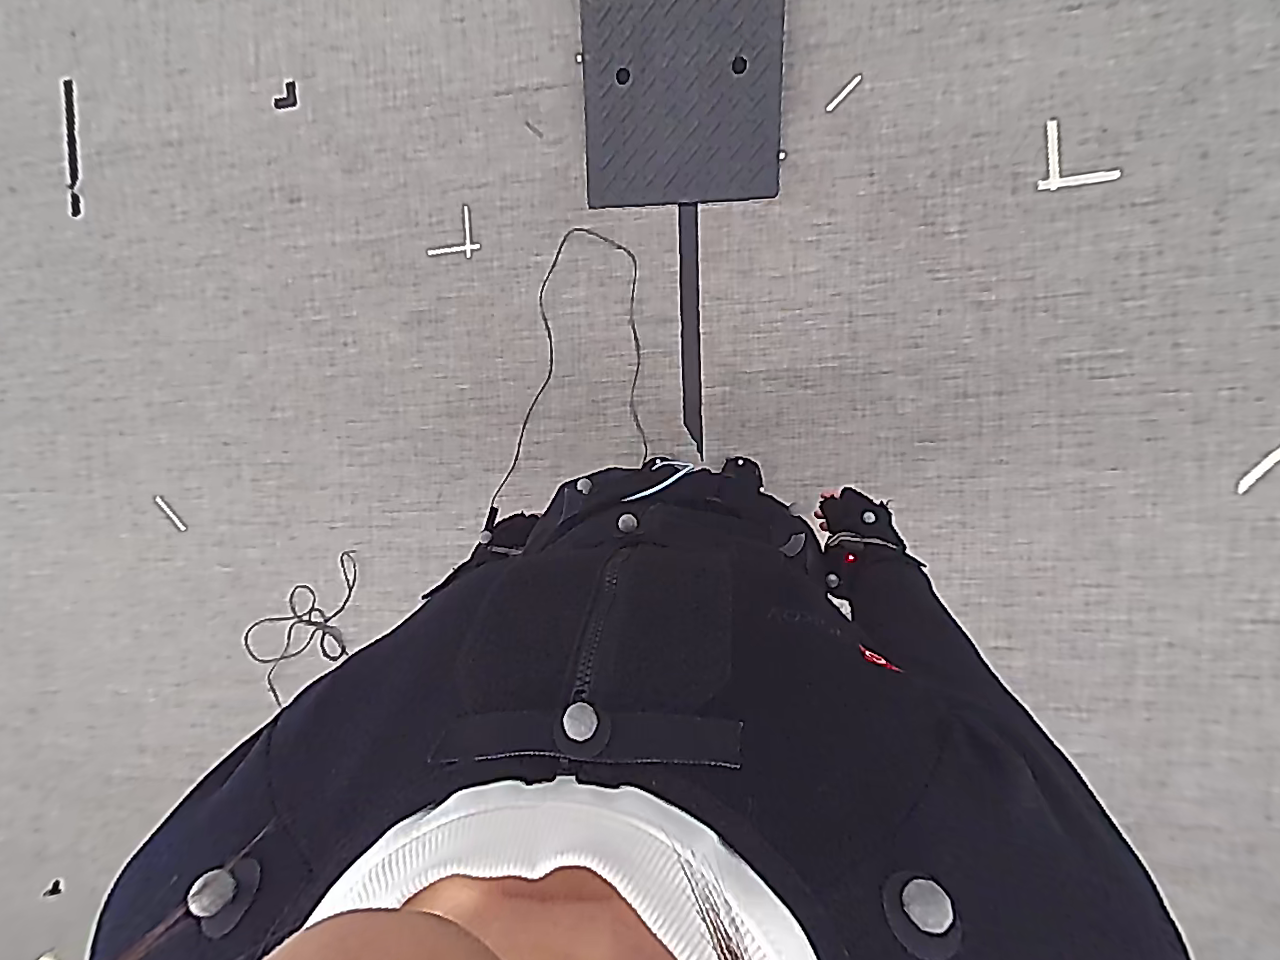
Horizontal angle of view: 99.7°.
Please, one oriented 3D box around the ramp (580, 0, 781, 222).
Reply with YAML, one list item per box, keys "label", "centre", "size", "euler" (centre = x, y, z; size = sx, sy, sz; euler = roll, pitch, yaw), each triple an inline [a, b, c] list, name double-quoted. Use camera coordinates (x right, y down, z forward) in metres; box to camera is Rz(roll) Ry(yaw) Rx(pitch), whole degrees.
- label: "ramp"
  centre: [0.095, -1.185, 1.316]
  size: [0.509, 0.206, 0.991]
  euler: [-3, 92, 8]
